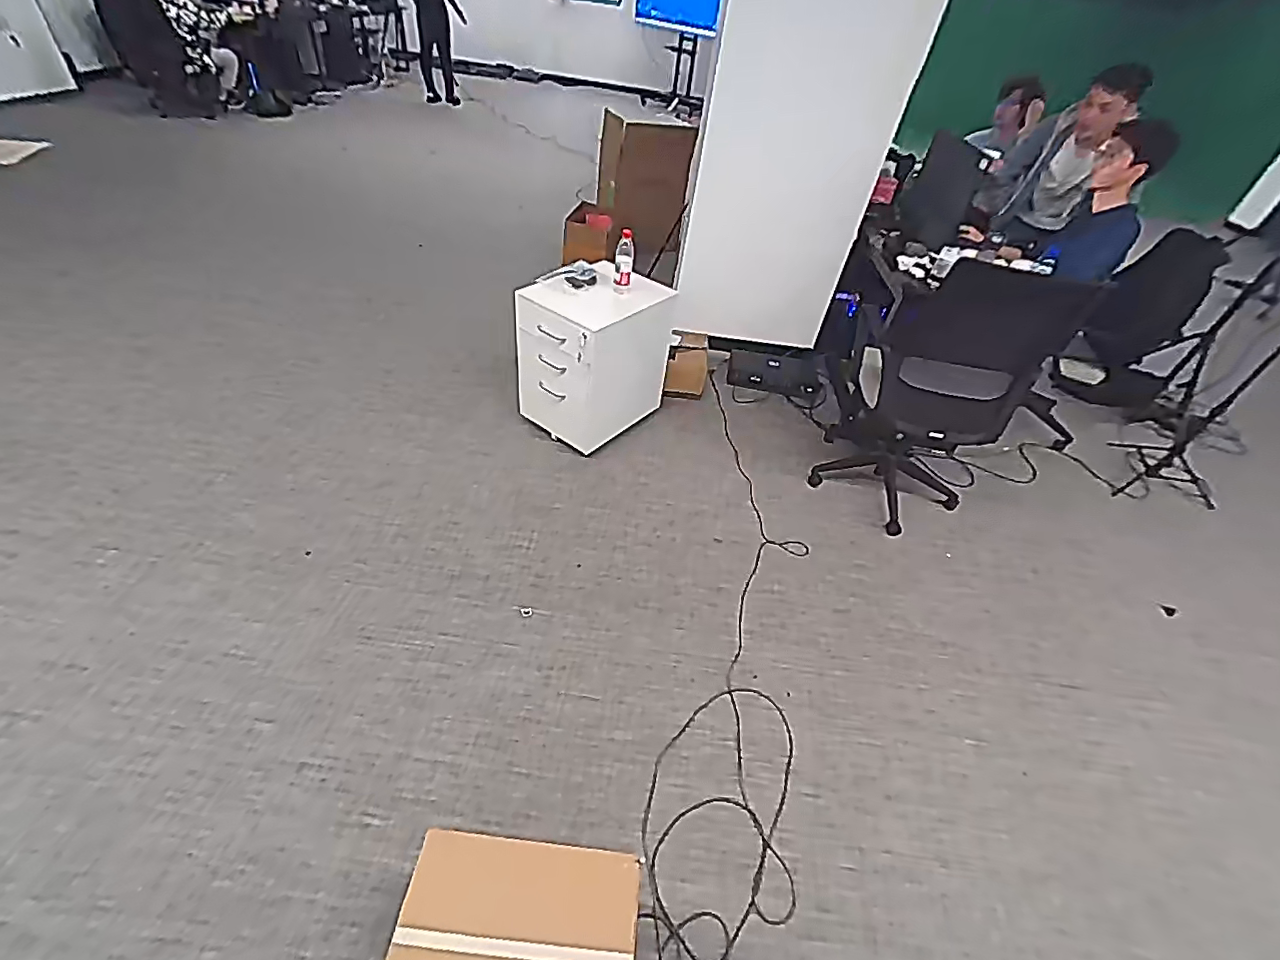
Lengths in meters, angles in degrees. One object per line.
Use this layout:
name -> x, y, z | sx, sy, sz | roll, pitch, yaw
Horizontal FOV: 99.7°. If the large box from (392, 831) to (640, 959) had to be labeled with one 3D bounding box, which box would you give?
large box -> -0.225, 0.897, 1.007 | 0.408, 0.320, 0.320 | 8, 42, -1
